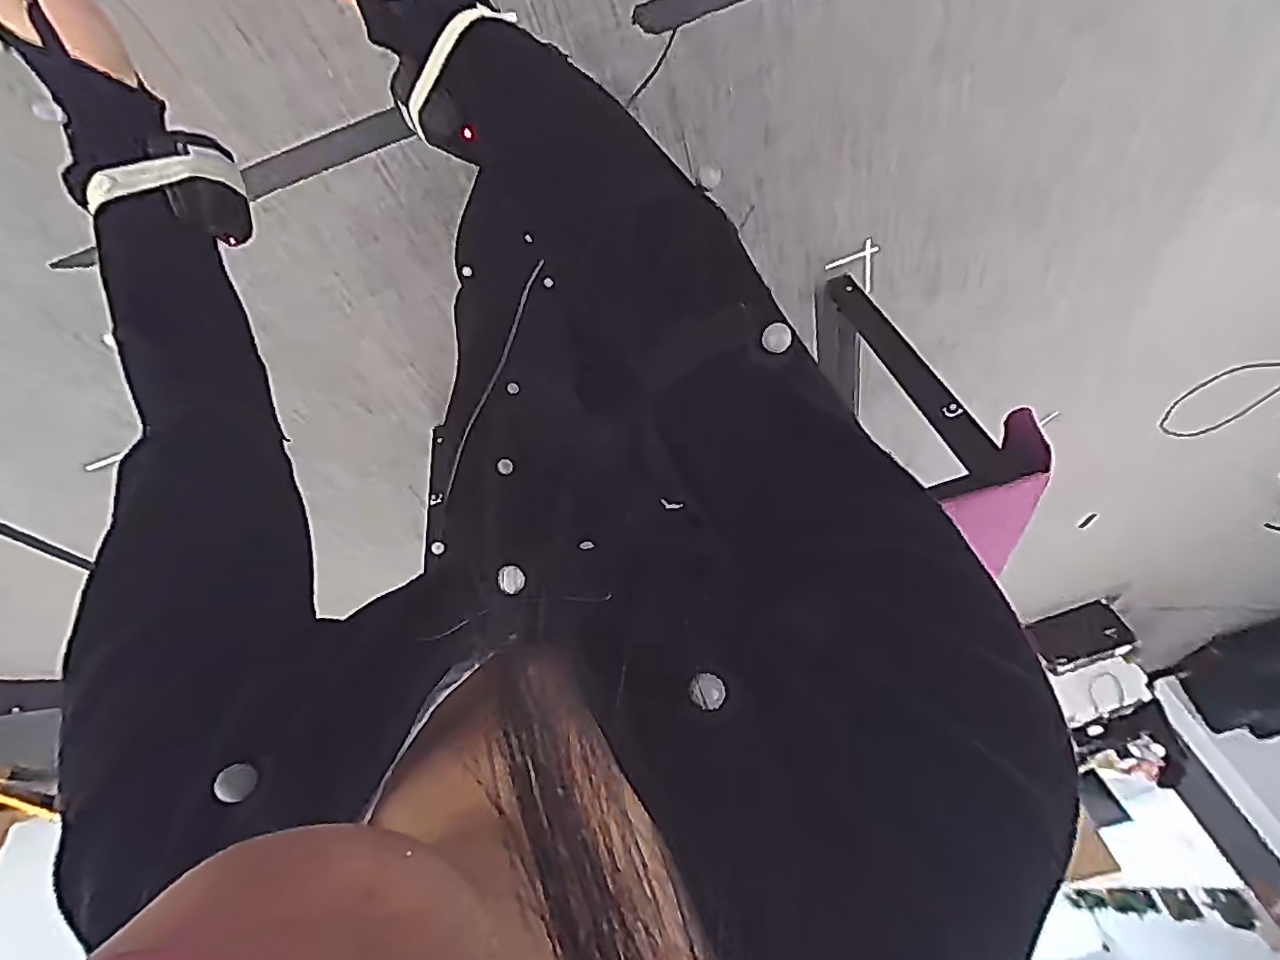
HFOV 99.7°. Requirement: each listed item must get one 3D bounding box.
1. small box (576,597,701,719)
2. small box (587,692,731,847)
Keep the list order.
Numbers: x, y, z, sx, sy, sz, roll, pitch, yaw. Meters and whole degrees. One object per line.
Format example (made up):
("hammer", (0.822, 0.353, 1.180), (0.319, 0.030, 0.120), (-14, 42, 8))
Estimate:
("small box", (-0.003, 0.334, 0.960), (0.168, 0.176, 0.179), (-20, 138, 4))
("small box", (0.028, 0.452, 0.852), (0.168, 0.176, 0.179), (-21, 140, 5))
